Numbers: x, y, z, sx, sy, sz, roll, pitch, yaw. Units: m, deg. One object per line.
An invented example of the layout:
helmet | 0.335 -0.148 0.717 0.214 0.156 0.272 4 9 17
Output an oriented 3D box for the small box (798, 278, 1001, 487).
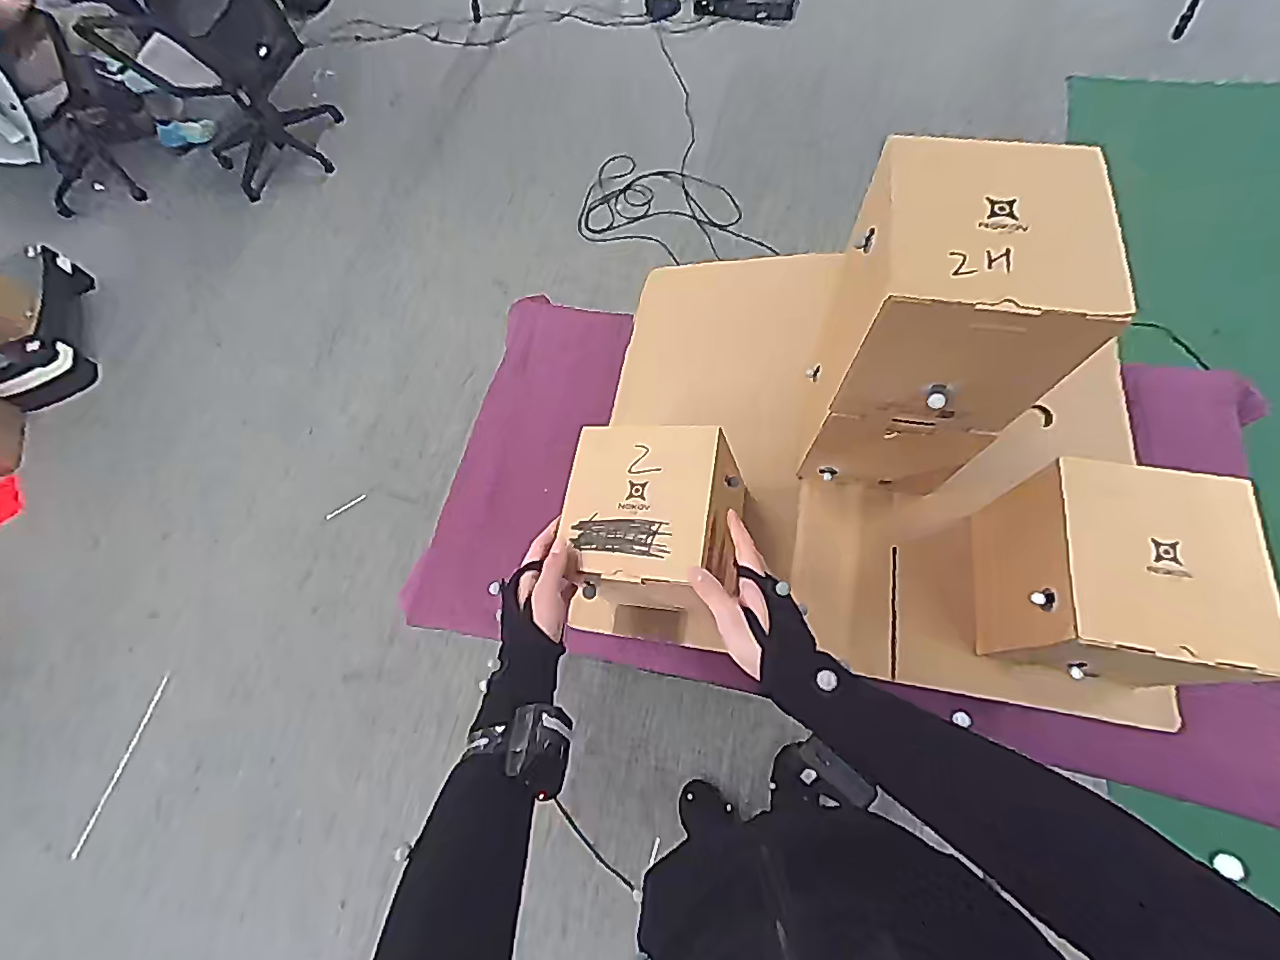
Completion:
small box | 0.288 -0.105 0.633 0.168 0.176 0.179 8 68 7

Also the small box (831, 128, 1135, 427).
small box | 0.278 -0.170 0.482 0.168 0.176 0.179 8 69 7

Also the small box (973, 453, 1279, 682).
small box | 0.461 0.095 0.542 0.168 0.176 0.179 9 69 7
